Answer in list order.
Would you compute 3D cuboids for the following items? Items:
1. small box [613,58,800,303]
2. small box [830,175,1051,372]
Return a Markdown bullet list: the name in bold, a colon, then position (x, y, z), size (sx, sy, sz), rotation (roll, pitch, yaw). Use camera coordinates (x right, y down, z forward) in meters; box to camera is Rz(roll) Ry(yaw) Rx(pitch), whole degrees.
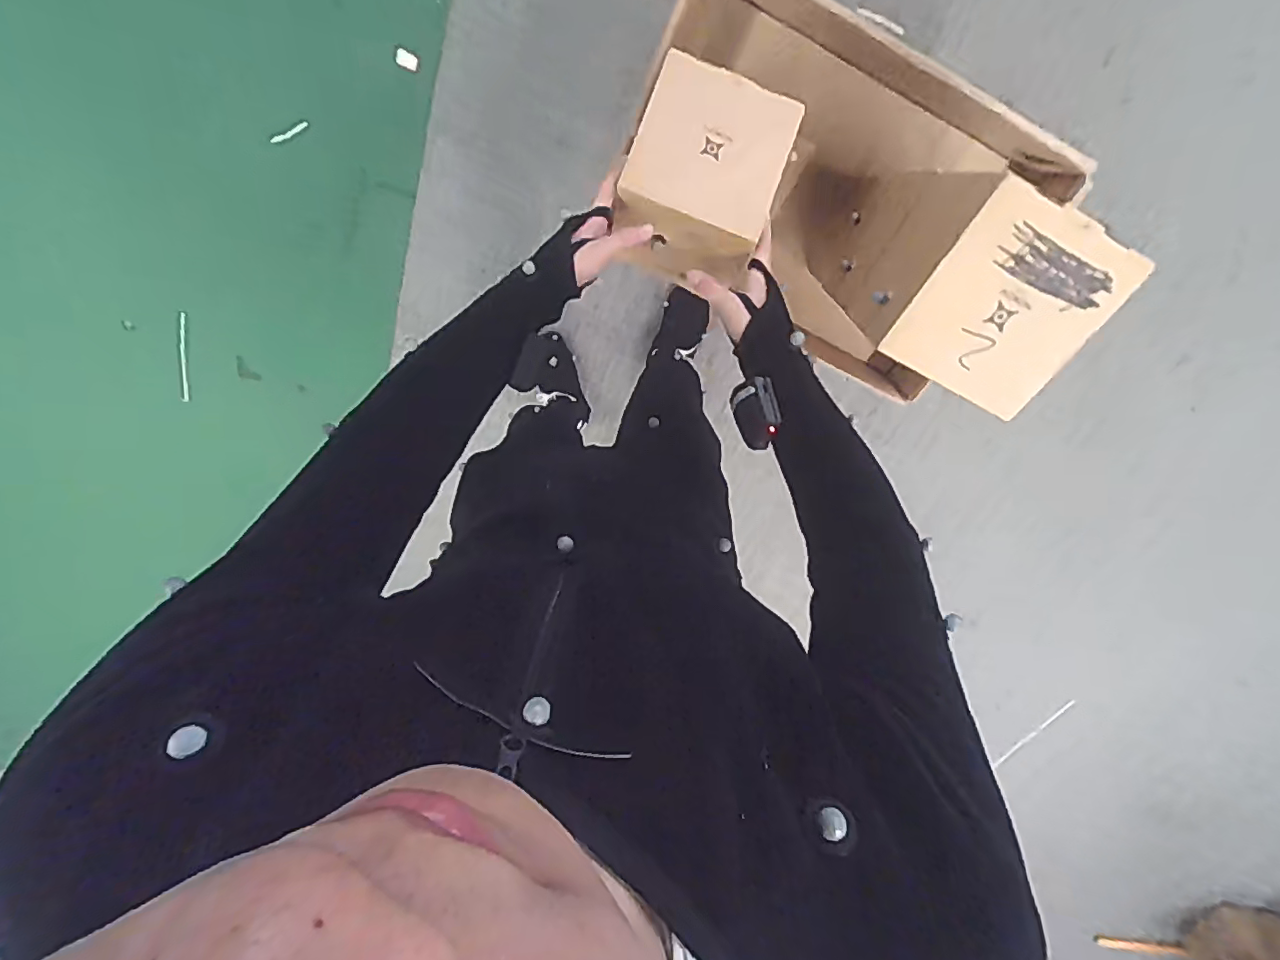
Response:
- **small box**: position (0.069, -0.350, 0.668), size (0.168, 0.176, 0.179), rotation (19, 81, -4)
- **small box**: position (0.375, -0.277, 0.720), size (0.168, 0.176, 0.179), rotation (27, 118, -7)
